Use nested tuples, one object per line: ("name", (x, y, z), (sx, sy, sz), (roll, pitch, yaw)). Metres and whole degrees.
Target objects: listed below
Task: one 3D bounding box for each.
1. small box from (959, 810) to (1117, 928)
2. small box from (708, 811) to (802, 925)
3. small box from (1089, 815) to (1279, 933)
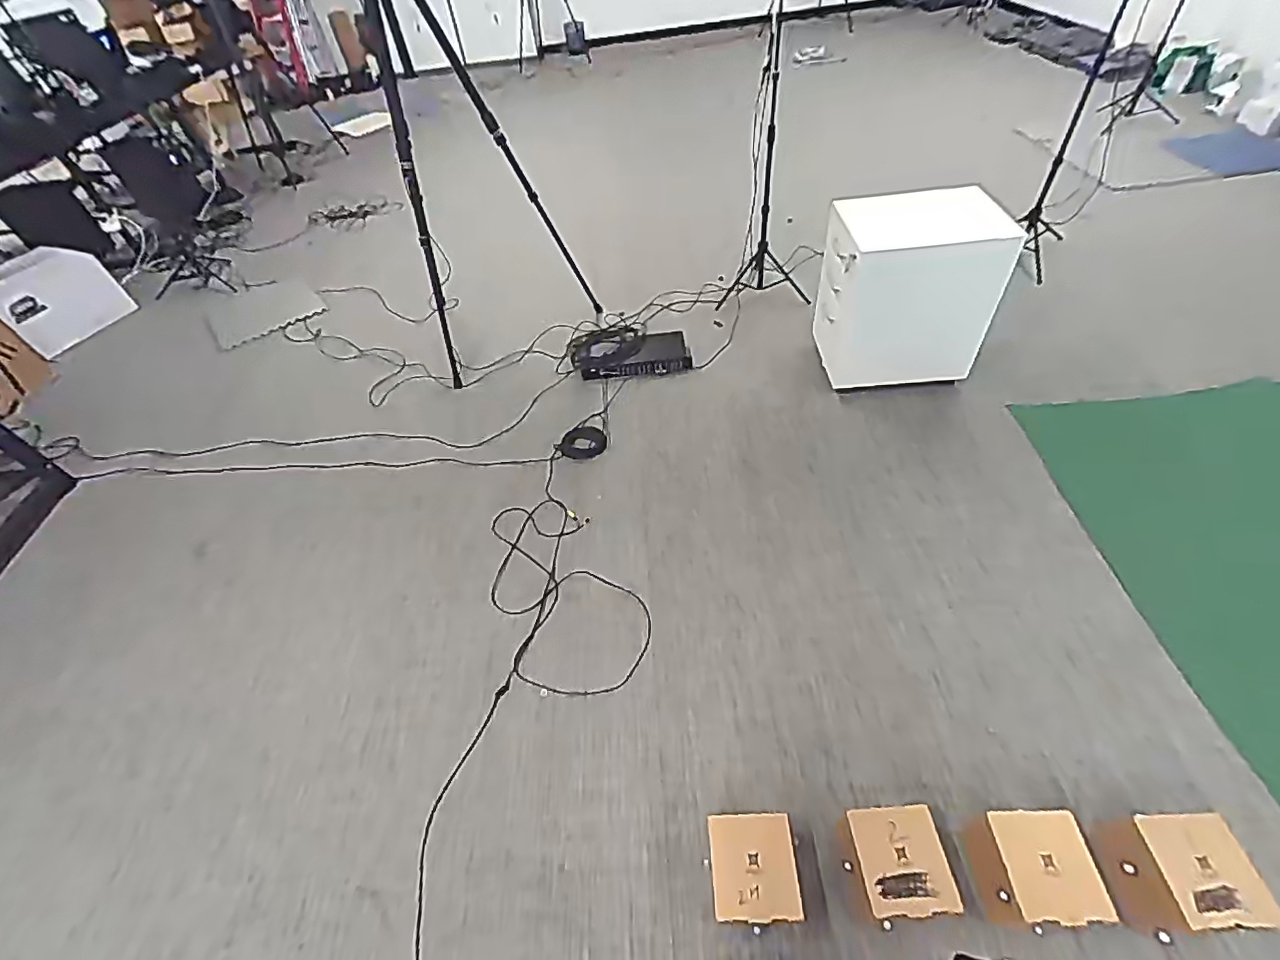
("small box", (0.775, 0.778, 1.080), (0.168, 0.176, 0.179), (-3, 49, 4))
("small box", (0.228, 0.806, 1.121), (0.168, 0.176, 0.179), (-4, 49, 4))
("small box", (1.043, 0.770, 1.054), (0.168, 0.176, 0.179), (-4, 48, 4))
